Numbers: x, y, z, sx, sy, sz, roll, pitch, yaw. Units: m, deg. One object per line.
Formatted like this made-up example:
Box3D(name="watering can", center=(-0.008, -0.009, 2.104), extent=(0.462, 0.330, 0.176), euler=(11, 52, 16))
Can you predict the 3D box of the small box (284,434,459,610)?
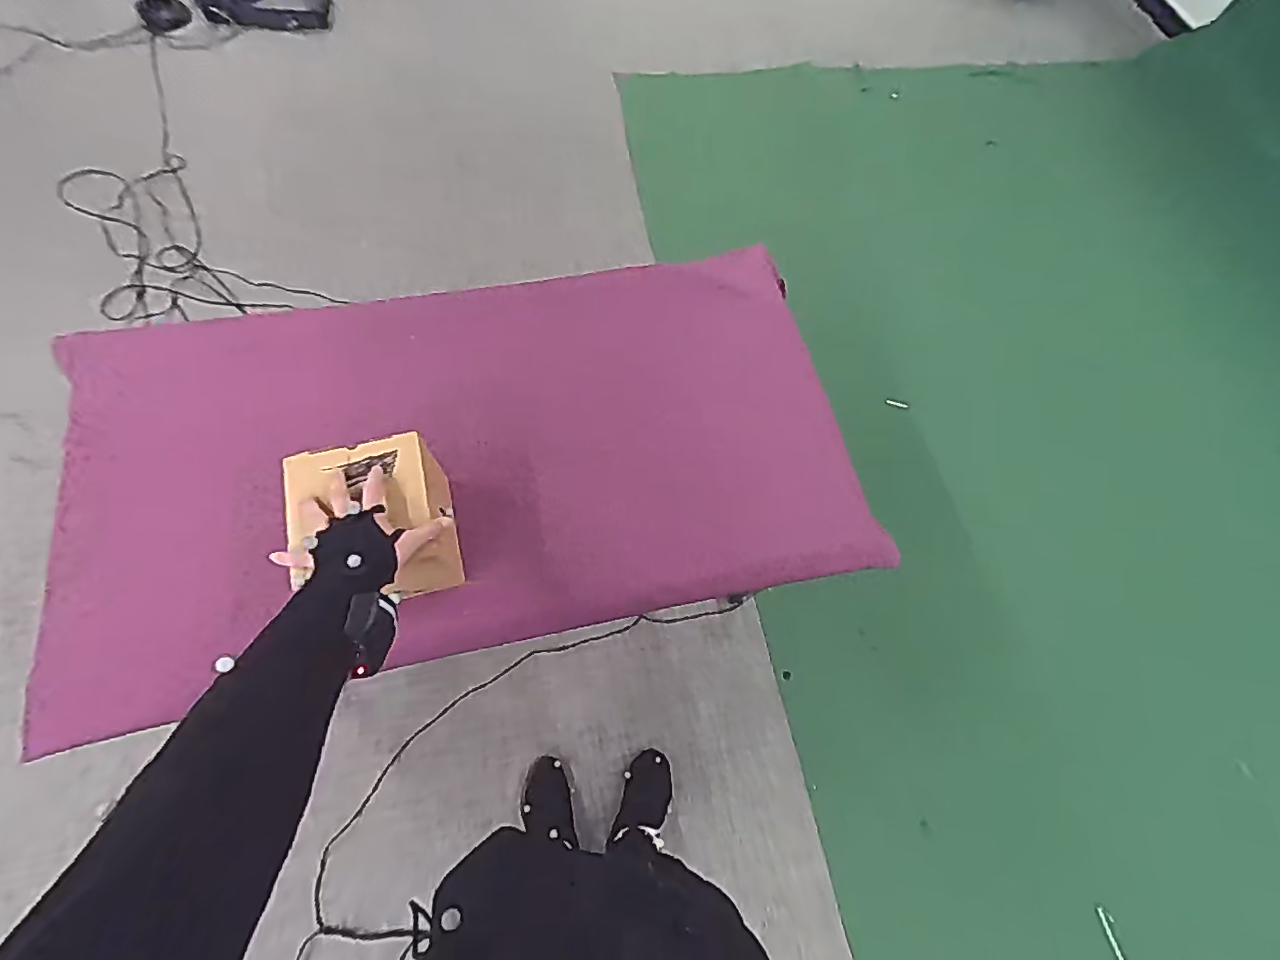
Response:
Box3D(name="small box", center=(-0.358, 0.063, 0.741), extent=(0.168, 0.176, 0.179), euler=(-13, 70, -11))
